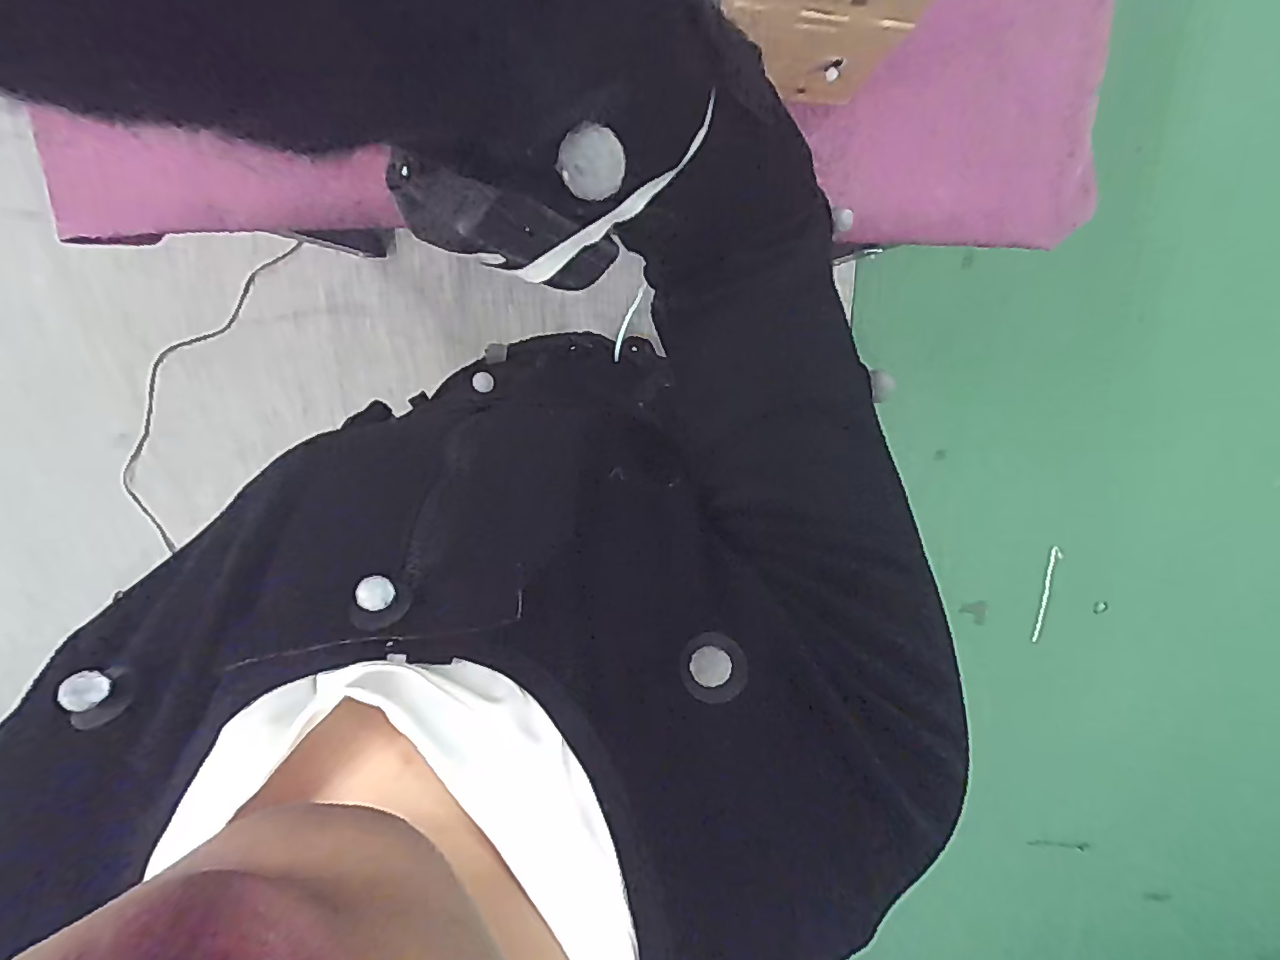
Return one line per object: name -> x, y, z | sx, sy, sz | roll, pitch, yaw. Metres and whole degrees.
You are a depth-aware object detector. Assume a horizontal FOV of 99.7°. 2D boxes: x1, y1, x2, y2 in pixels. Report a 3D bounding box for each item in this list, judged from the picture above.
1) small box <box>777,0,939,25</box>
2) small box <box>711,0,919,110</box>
small box -> 0.172, -0.453, 0.362 | 0.168, 0.176, 0.179 | 5, 105, -4
small box -> 0.168, -0.492, 0.521 | 0.168, 0.176, 0.179 | 6, 104, -3
